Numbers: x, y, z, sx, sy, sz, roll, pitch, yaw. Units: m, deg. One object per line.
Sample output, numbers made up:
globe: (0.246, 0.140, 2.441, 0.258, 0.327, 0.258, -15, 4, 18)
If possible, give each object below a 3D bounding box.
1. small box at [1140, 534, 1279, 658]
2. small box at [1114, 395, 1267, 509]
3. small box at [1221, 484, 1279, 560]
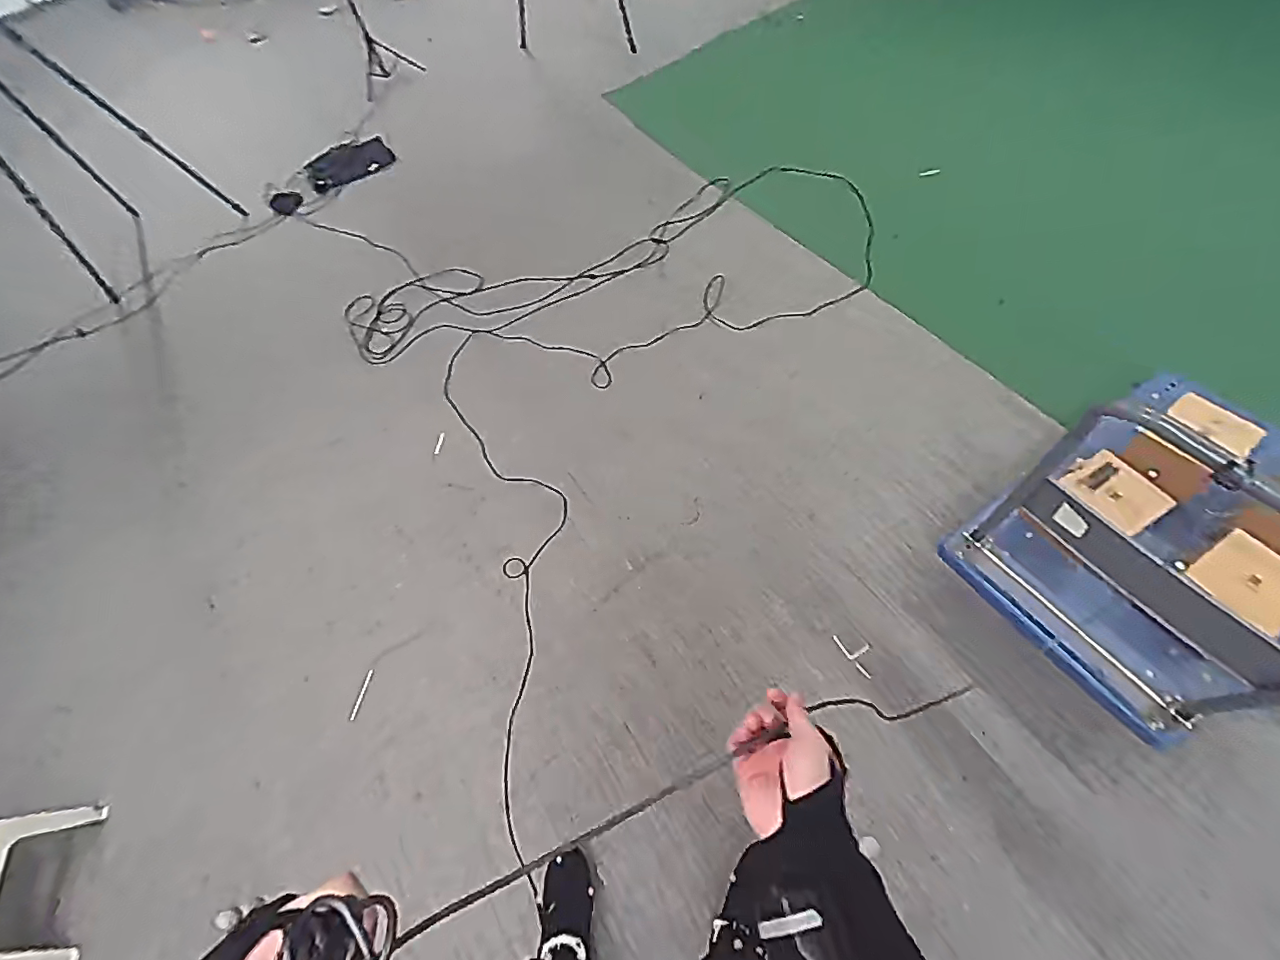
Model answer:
small box: (1.228, 0.248, 1.138, 0.179, 0.176, 0.168, -33, 60, -7)
small box: (1.301, -0.061, 1.297, 0.179, 0.176, 0.168, -37, 61, -10)
small box: (1.451, 0.101, 1.176, 0.179, 0.176, 0.168, -37, 60, -9)
